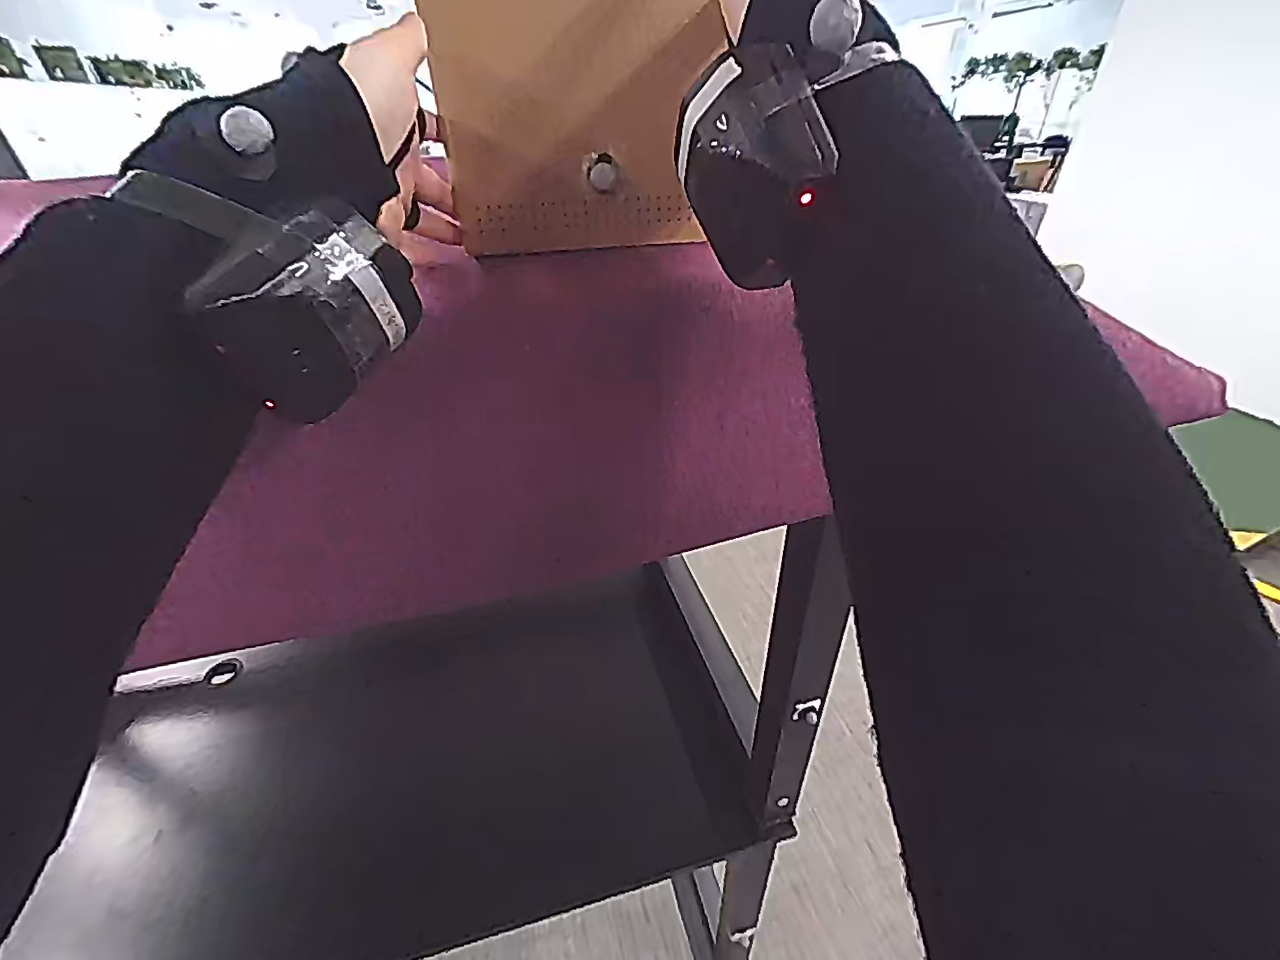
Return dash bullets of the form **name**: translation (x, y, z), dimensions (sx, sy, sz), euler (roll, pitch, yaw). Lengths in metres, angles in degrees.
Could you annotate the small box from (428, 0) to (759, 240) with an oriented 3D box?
- **small box**: translation (-0.030, -0.264, 0.356), dimensions (0.179, 0.176, 0.168), euler (-6, 33, -7)
